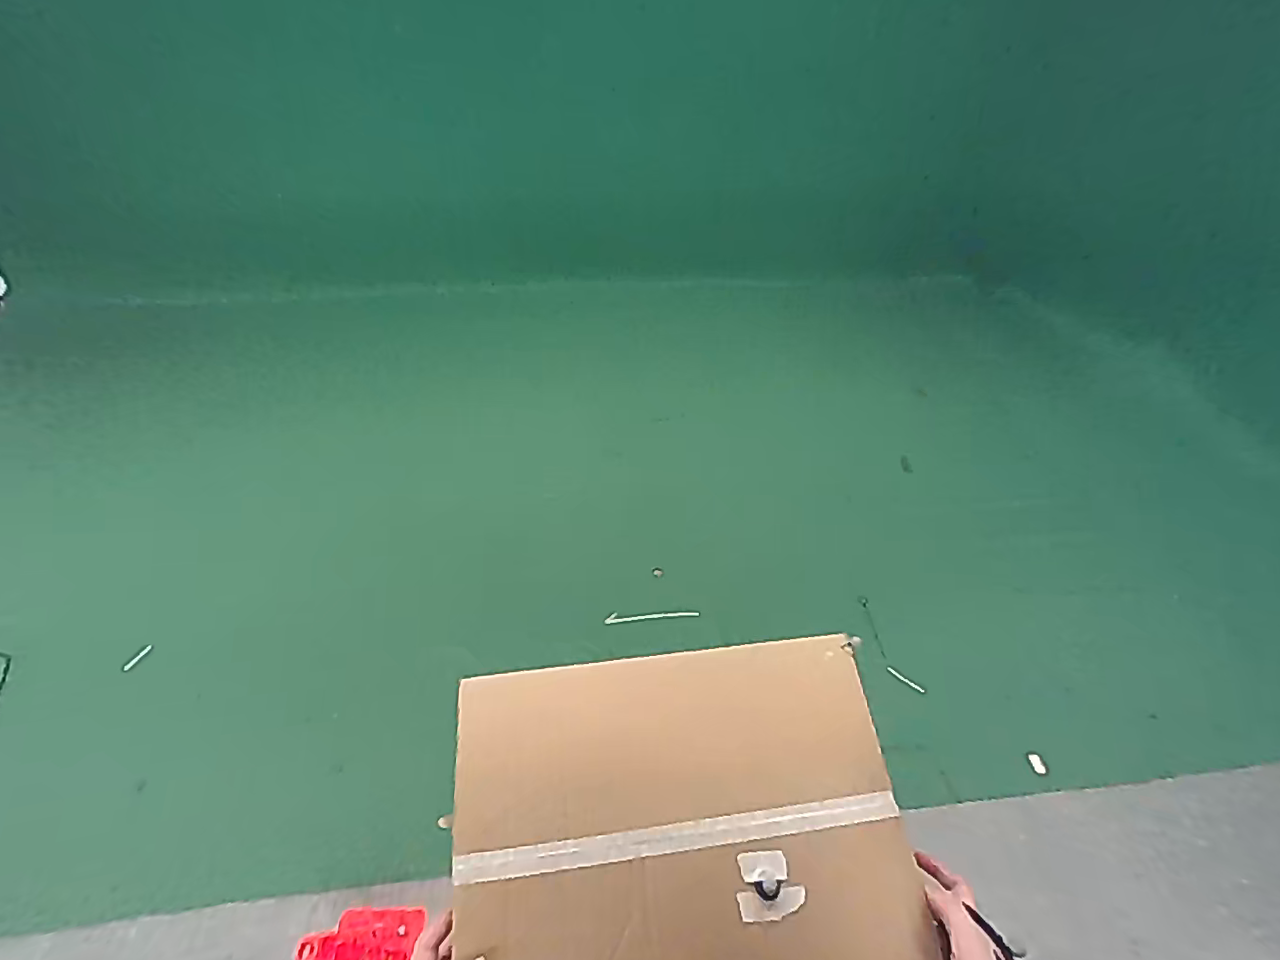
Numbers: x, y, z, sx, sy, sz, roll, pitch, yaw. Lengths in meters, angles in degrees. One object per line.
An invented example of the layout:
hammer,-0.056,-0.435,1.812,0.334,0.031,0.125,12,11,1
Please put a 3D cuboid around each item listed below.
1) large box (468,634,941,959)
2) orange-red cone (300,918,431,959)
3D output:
large box,0.036,0.392,0.629,0.408,0.320,0.320,-6,63,-6
orange-red cone,-0.581,0.967,1.069,0.199,0.360,0.198,0,44,1
